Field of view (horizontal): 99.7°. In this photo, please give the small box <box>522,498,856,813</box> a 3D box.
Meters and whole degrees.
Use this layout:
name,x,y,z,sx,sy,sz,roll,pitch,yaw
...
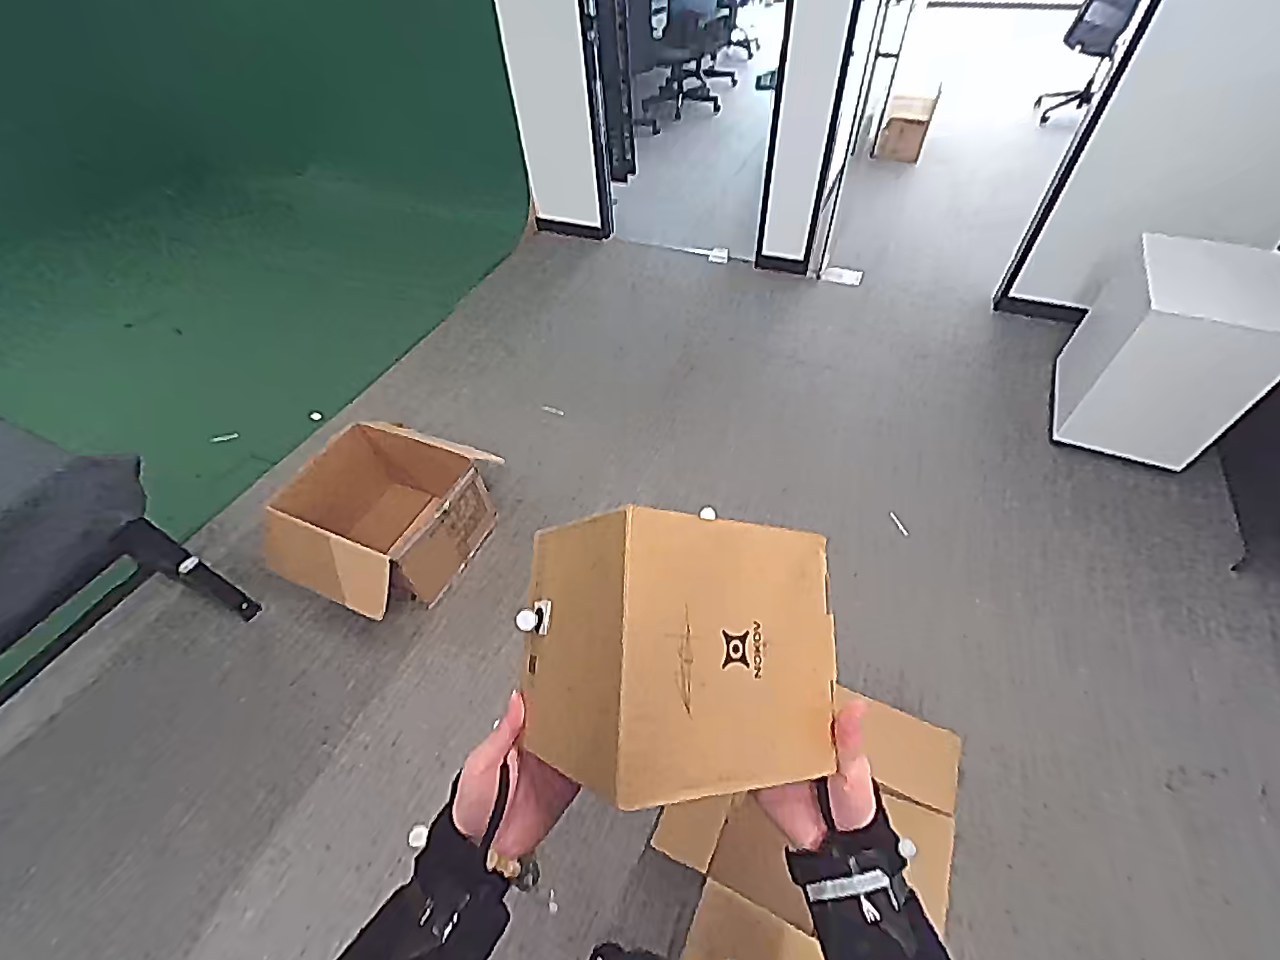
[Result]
name,x,y,z,sx,sy,sz,roll,pitch,yaw
small box,0.030,0.116,0.397,0.179,0.176,0.168,10,74,-29
